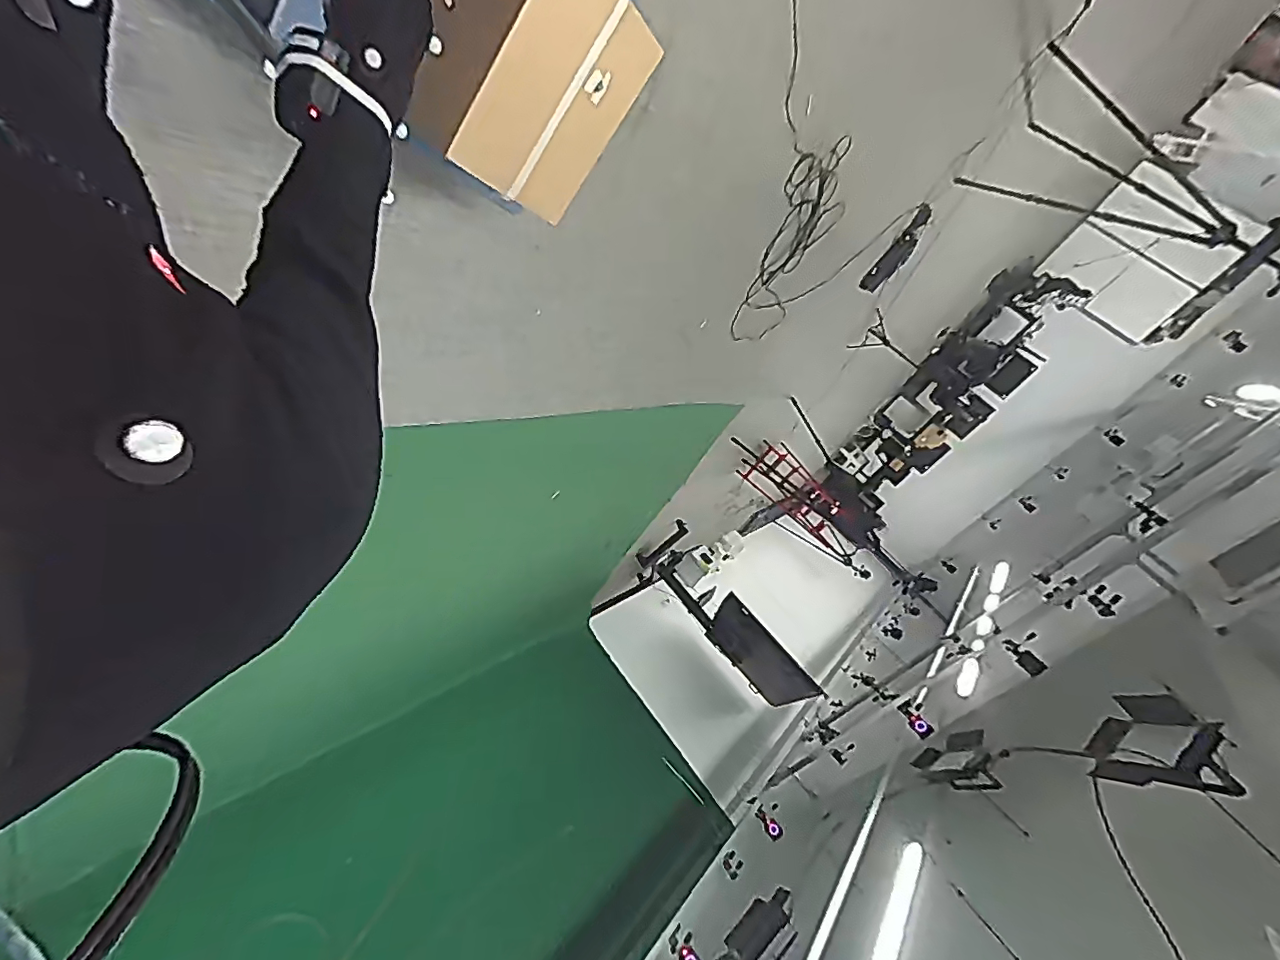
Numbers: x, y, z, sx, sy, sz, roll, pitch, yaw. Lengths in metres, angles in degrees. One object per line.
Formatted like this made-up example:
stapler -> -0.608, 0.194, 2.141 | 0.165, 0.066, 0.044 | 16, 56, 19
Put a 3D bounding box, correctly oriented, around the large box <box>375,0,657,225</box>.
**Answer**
large box -> -0.250, -0.816, 1.076 | 0.408, 0.320, 0.320 | -51, 158, 21
